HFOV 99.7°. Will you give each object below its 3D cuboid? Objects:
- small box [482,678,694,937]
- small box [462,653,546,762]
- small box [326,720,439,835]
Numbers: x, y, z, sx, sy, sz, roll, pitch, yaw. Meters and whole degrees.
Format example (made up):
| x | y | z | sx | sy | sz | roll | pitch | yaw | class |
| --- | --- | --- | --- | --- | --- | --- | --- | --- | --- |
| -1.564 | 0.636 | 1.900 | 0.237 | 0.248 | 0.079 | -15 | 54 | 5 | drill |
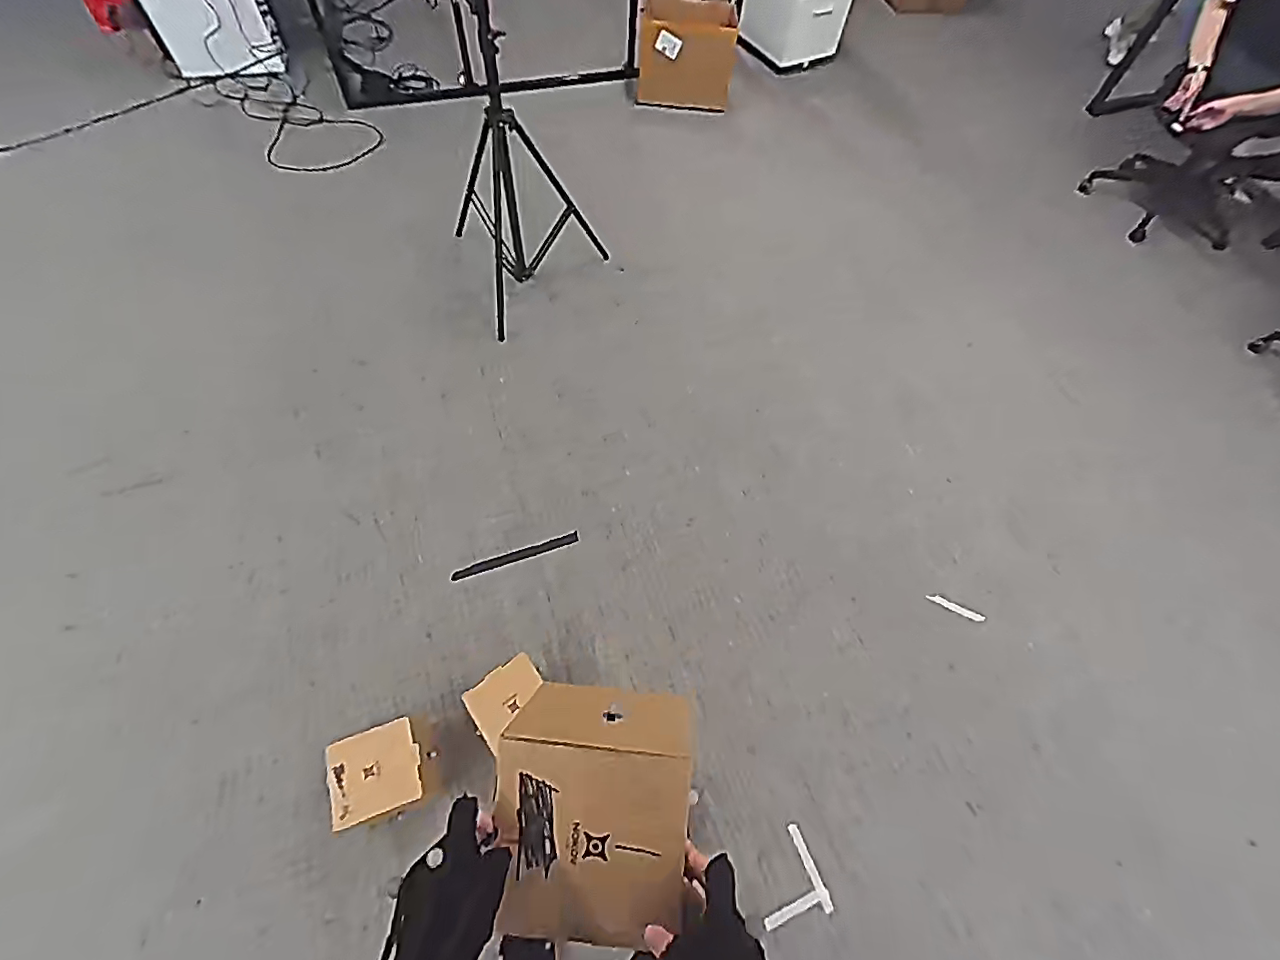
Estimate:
| x | y | z | sx | sy | sz | roll | pitch | yaw | class |
| --- | --- | --- | --- | --- | --- | --- | --- | --- | --- |
| -0.041 | 0.311 | 0.555 | 0.179 | 0.176 | 0.168 | 5 | 84 | 2 | small box |
| -0.283 | 0.537 | 1.254 | 0.168 | 0.176 | 0.179 | -34 | 68 | -20 | small box |
| -0.550 | 0.641 | 1.175 | 0.179 | 0.176 | 0.168 | -17 | 63 | -13 | small box |
